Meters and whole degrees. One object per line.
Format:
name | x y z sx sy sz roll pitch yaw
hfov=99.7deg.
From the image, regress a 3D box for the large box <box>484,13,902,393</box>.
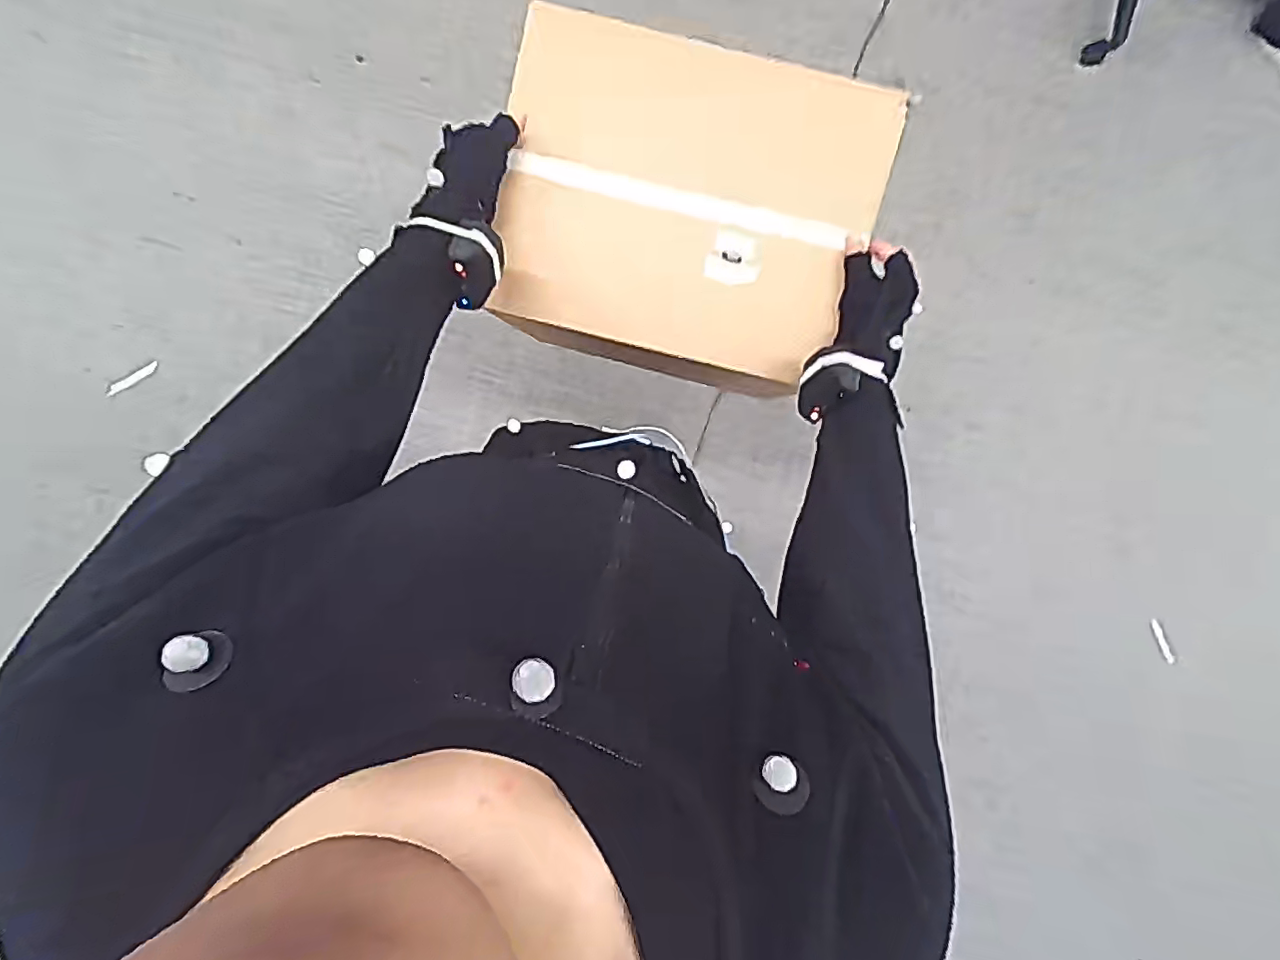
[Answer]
large box | 0.053 -0.319 0.736 0.408 0.320 0.320 15 98 0
